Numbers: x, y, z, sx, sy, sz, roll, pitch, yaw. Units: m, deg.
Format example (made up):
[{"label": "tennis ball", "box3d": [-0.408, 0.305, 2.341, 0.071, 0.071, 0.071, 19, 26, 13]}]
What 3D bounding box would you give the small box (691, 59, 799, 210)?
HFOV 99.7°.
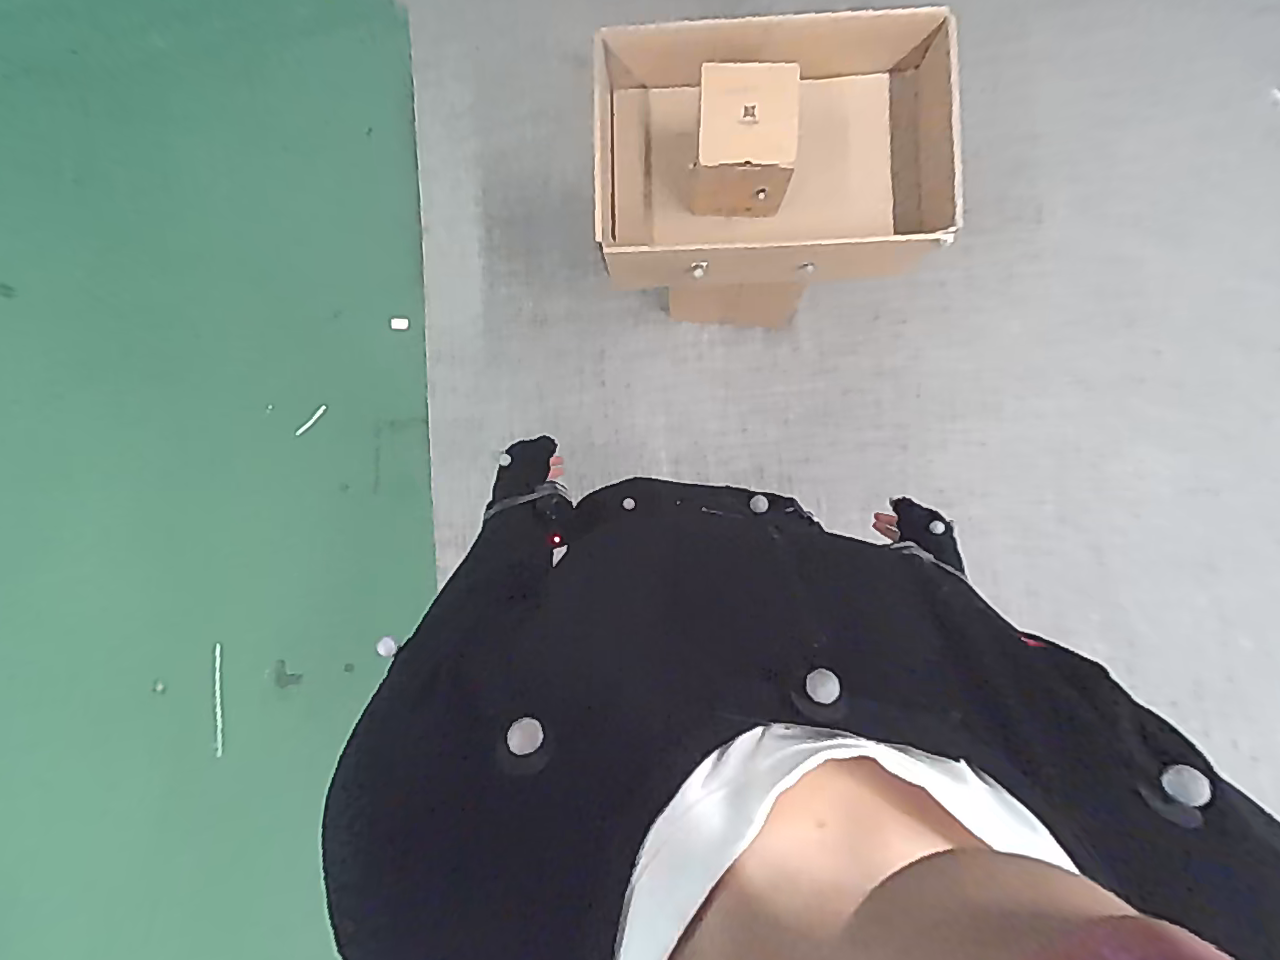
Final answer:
[{"label": "small box", "box3d": [0.183, -0.612, 0.977, 0.168, 0.176, 0.179, 1, 87, 1]}]
